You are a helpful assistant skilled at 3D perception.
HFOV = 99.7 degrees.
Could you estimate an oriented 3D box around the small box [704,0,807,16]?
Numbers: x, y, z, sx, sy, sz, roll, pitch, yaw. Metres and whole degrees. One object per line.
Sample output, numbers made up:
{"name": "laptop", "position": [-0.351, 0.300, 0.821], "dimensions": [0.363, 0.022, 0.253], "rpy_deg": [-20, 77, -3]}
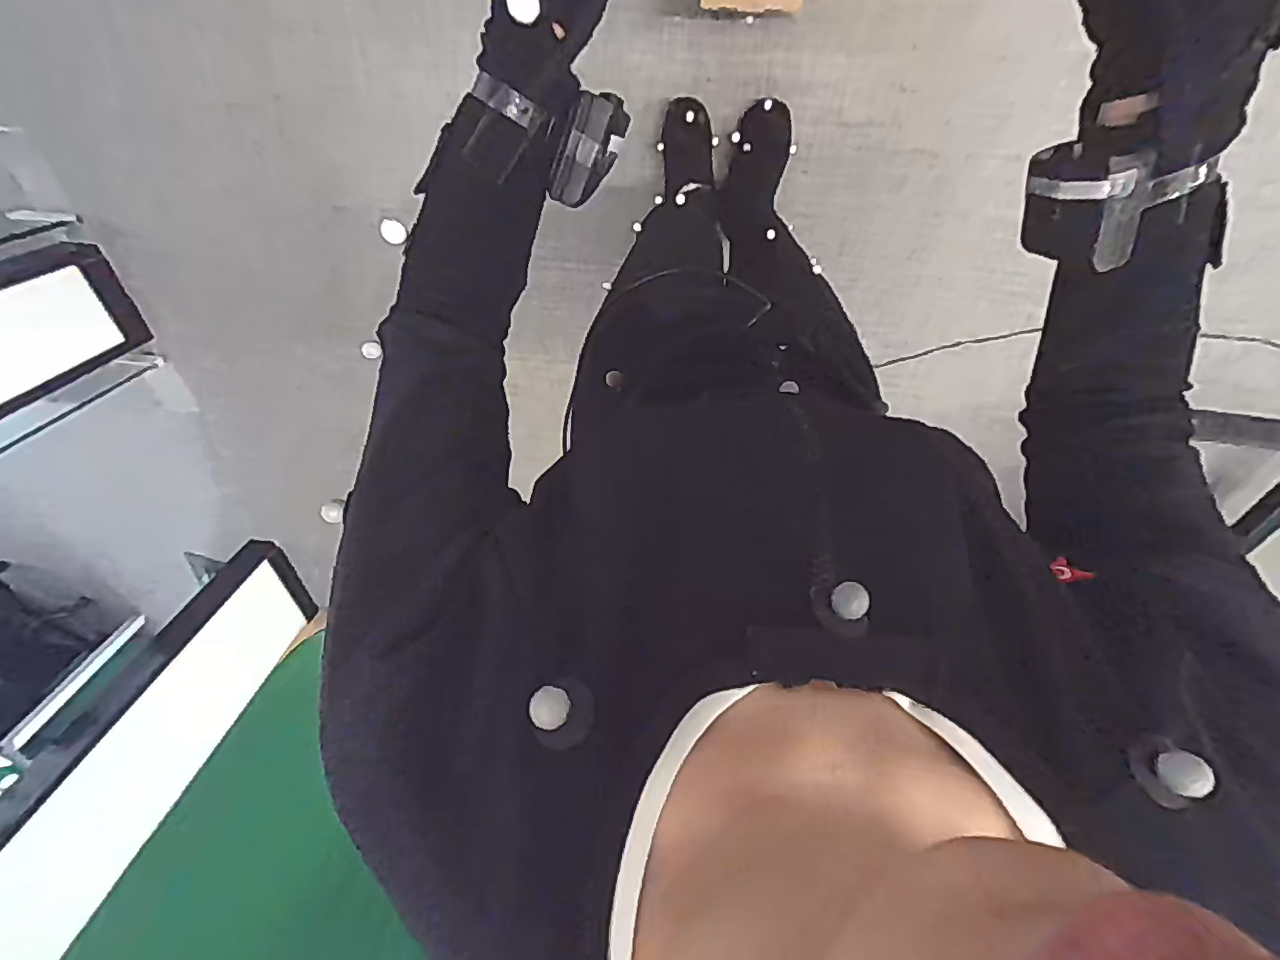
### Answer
{"name": "small box", "position": [0.198, -0.874, 0.876], "dimensions": [0.168, 0.176, 0.179], "rpy_deg": [8, 130, 6]}

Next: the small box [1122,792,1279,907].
{"name": "small box", "position": [1.151, 0.759, 1.092], "dimensions": [0.179, 0.176, 0.168], "rpy_deg": [12, 130, 3]}
